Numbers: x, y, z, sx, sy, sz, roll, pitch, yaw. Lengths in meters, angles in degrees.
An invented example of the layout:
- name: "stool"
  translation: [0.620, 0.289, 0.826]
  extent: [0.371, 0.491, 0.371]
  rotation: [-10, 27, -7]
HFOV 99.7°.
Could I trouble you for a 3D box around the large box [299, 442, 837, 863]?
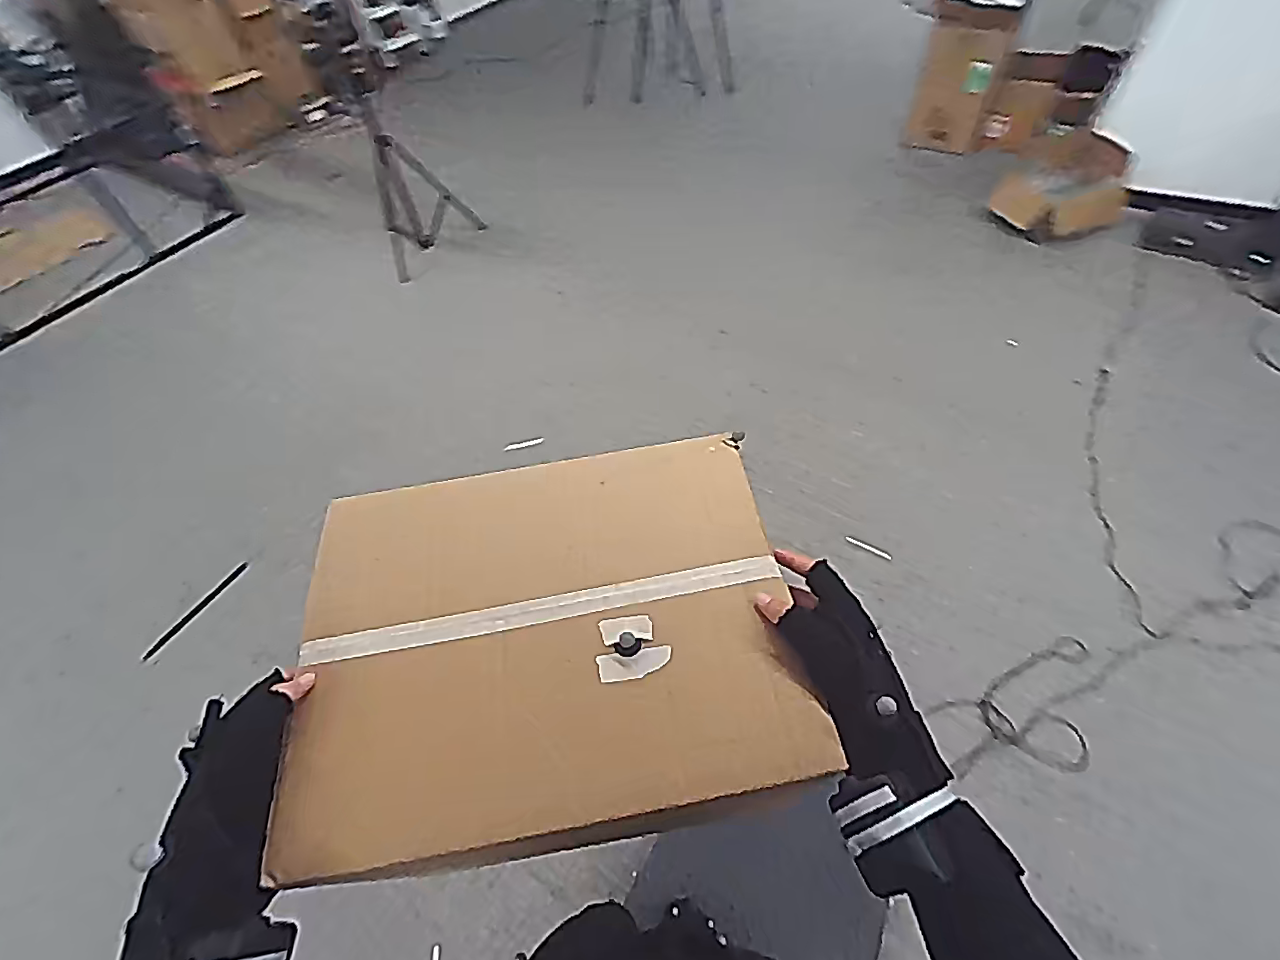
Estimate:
- name: "large box"
  translation: [-0.063, 0.199, 0.595]
  extent: [0.408, 0.320, 0.320]
  rotation: [-9, 55, -3]
